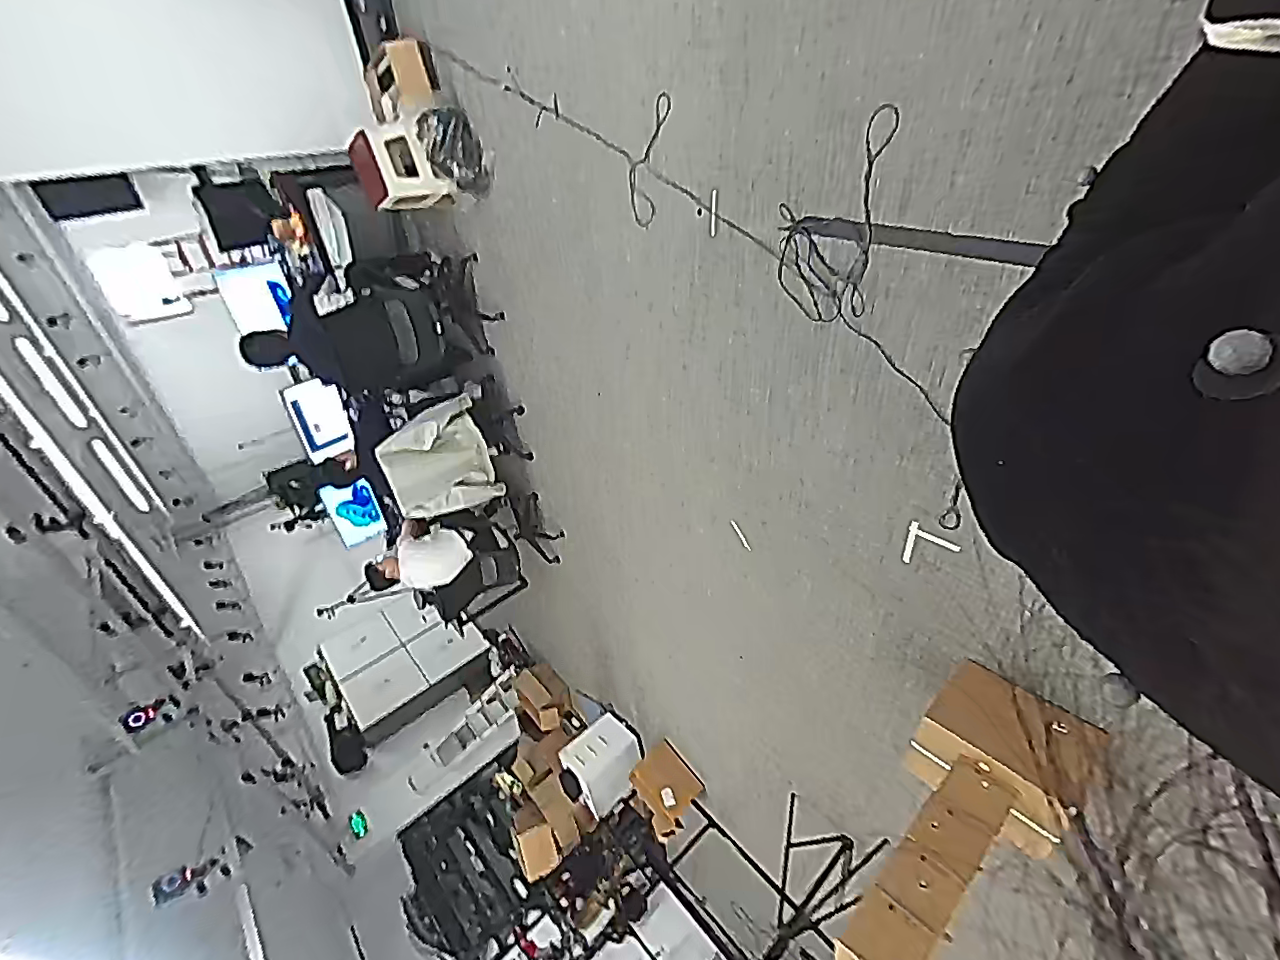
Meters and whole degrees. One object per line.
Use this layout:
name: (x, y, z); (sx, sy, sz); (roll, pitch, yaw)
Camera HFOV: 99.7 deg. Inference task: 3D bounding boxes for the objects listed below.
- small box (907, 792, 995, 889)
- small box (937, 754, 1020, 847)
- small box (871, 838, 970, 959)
small box: (0.841, 1.006, 1.480); (0.168, 0.176, 0.179); (28, 137, 42)
small box: (0.964, 0.944, 1.566); (0.168, 0.176, 0.179); (28, 135, 40)
small box: (0.722, 1.080, 1.393); (0.168, 0.176, 0.179); (24, 133, 45)
